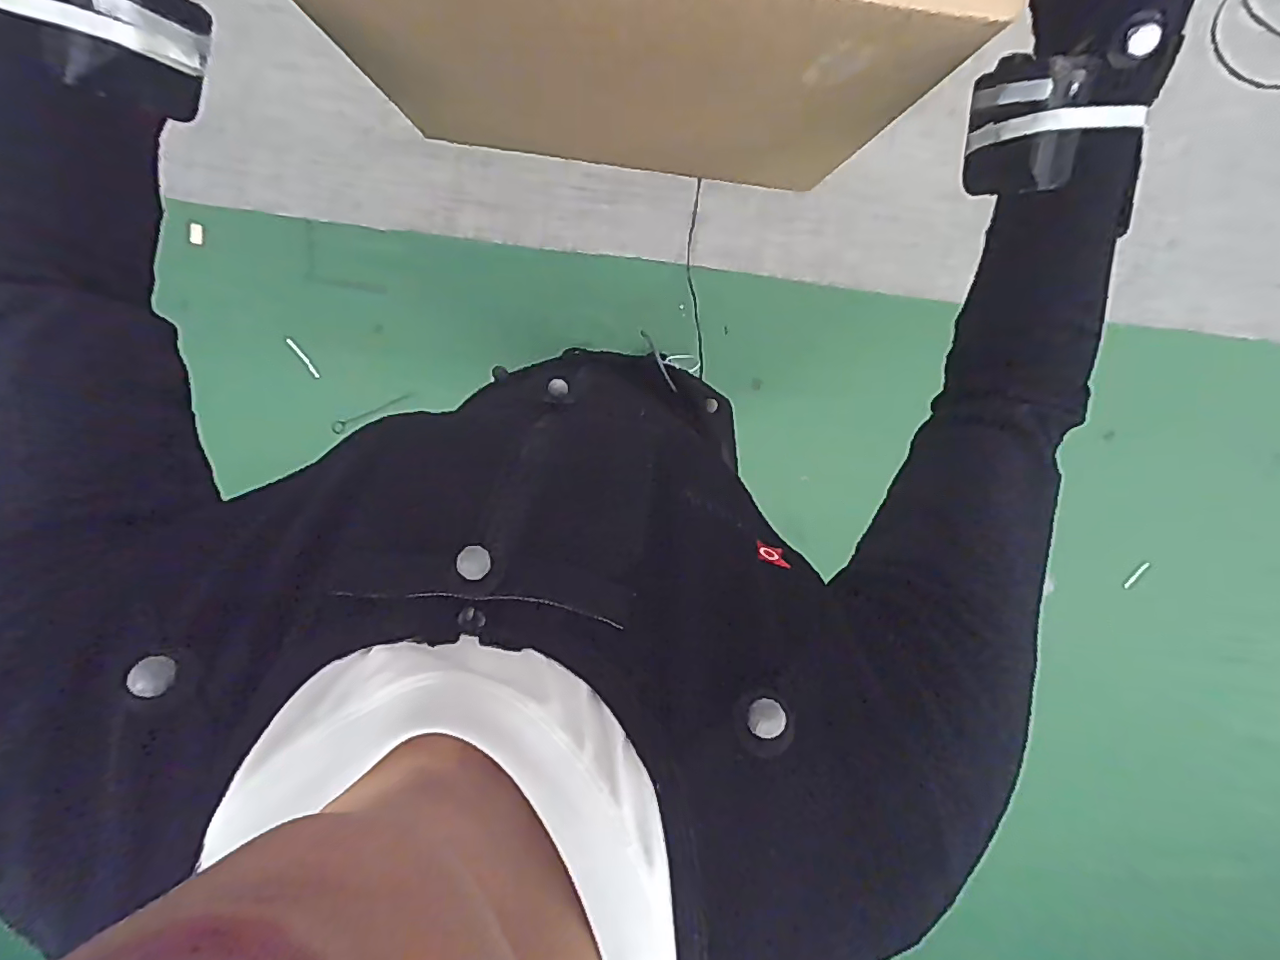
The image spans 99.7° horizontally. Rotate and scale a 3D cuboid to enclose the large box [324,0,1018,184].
[{"bbox_3d":[0.008,-0.440,0.384,0.408,0.320,0.320,5,104,-4],"label":"large box"}]
